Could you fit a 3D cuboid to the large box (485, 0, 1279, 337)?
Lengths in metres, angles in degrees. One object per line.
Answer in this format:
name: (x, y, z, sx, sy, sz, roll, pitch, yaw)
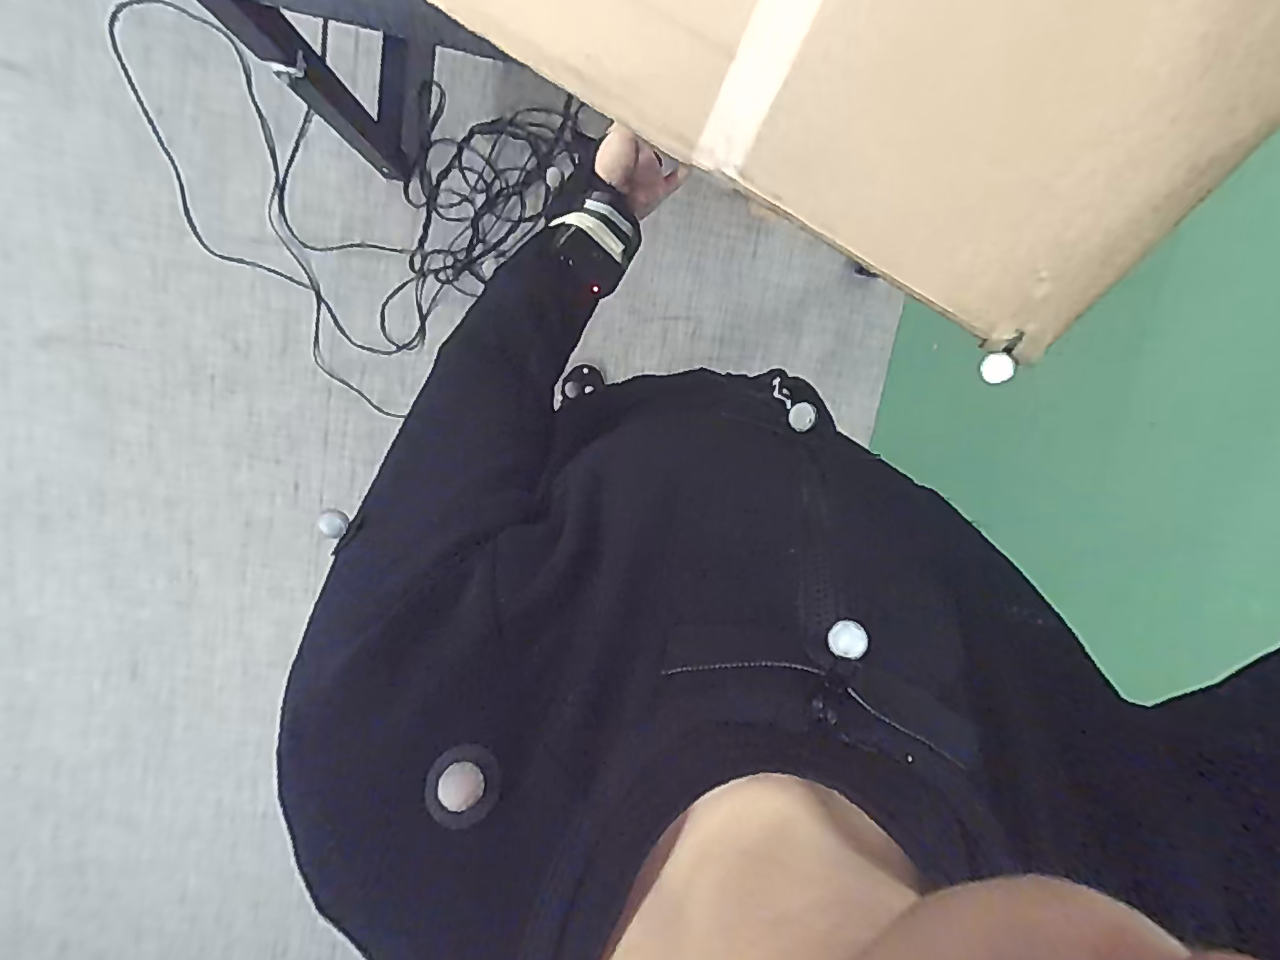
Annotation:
large box: (0.179, -0.353, 0.248, 0.320, 0.320, 0.408, 32, 128, 4)
